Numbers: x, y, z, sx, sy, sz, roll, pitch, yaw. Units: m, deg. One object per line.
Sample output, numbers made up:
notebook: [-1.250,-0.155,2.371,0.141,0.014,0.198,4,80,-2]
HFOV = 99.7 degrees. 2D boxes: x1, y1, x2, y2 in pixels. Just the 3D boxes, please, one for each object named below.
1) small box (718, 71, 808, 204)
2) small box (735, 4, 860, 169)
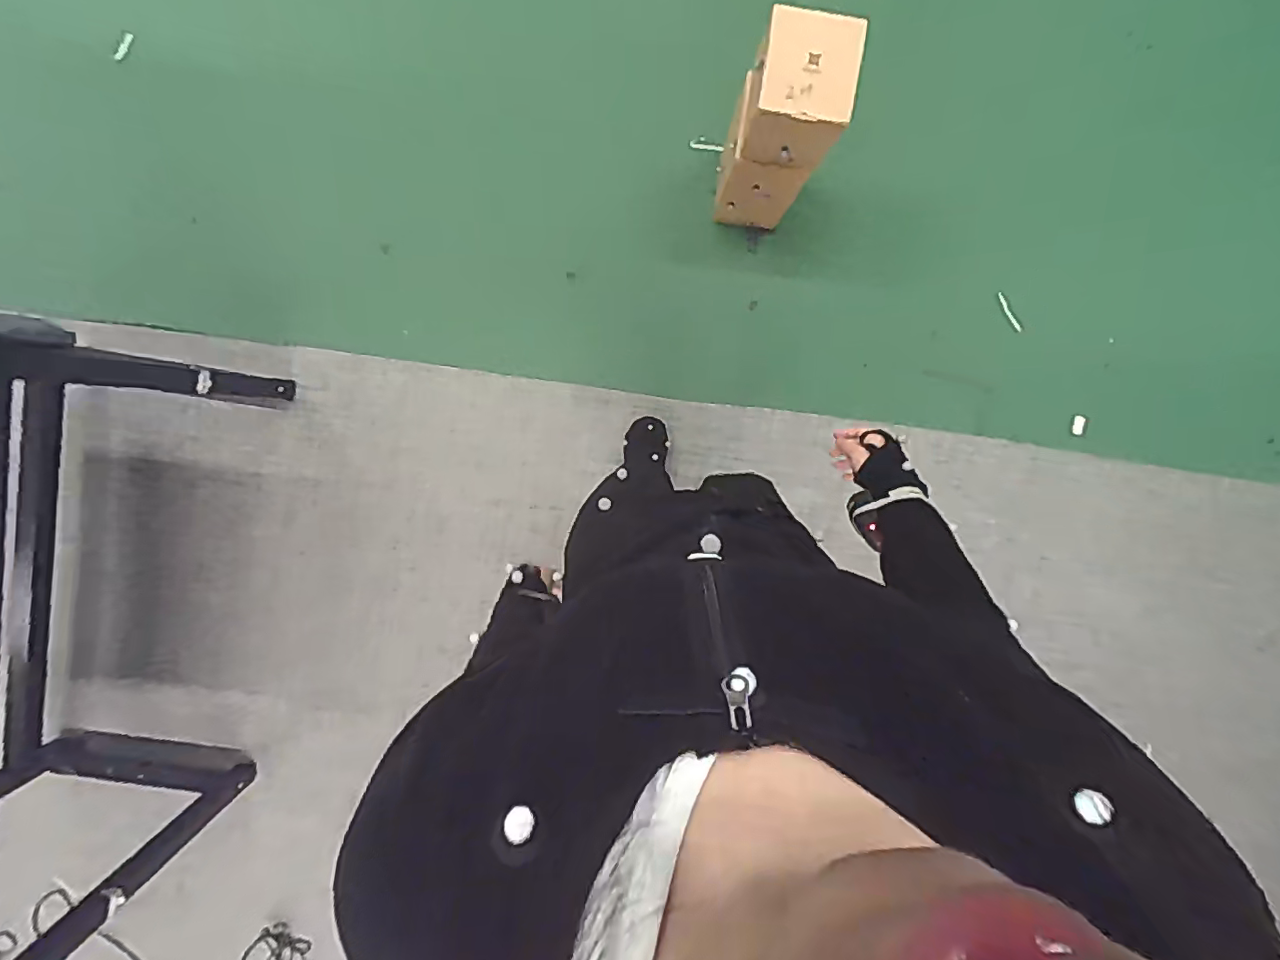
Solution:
small box: [0.271,-0.734,1.177,0.168,0.176,0.179,7,95,-3]
small box: [0.284,-0.723,1.012,0.168,0.176,0.179,8,95,-3]
